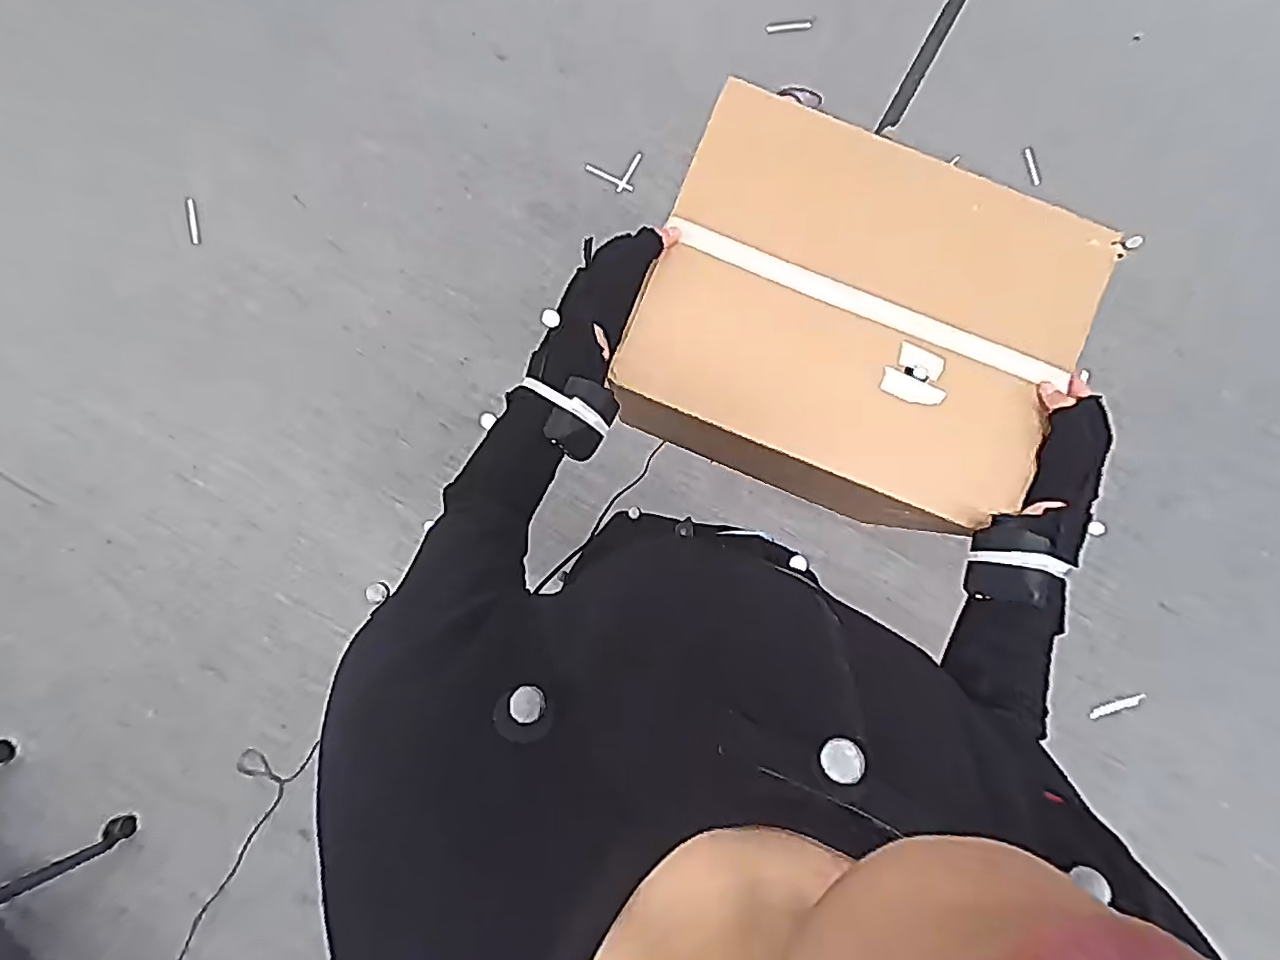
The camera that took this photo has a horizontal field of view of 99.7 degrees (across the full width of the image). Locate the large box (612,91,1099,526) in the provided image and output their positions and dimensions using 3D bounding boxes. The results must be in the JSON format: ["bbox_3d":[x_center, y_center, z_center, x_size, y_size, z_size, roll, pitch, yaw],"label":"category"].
[{"bbox_3d":[0.207,-0.166,0.672,0.408,0.320,0.320,23,90,0],"label":"large box"}]
